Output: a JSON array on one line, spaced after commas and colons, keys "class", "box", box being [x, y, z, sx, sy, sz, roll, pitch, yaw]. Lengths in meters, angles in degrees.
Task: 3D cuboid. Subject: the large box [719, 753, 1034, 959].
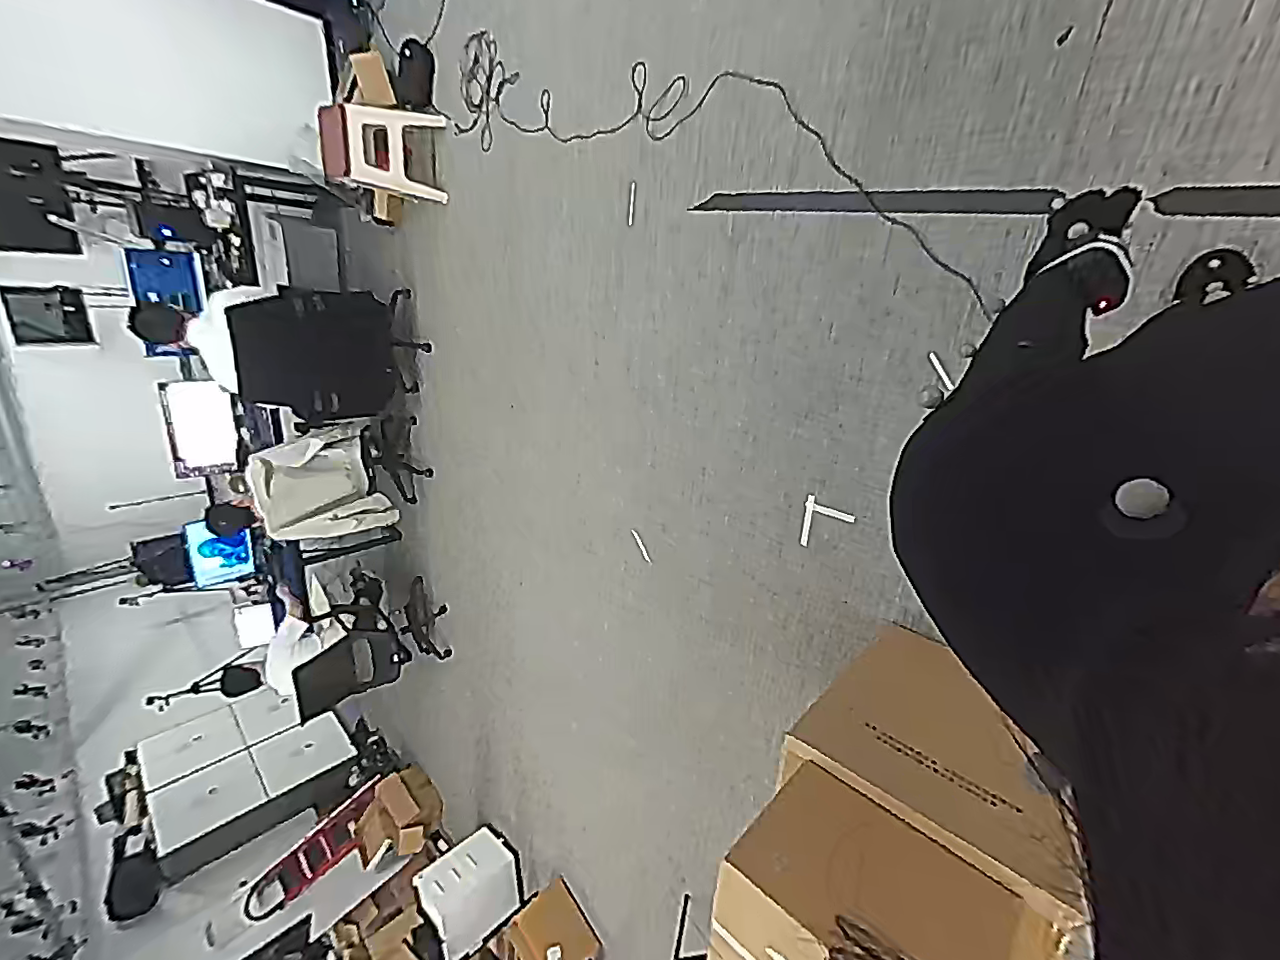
[{"class": "large box", "box": [0.402, 0.792, 0.962, 0.408, 0.320, 0.320, 20, 115, 41]}]
